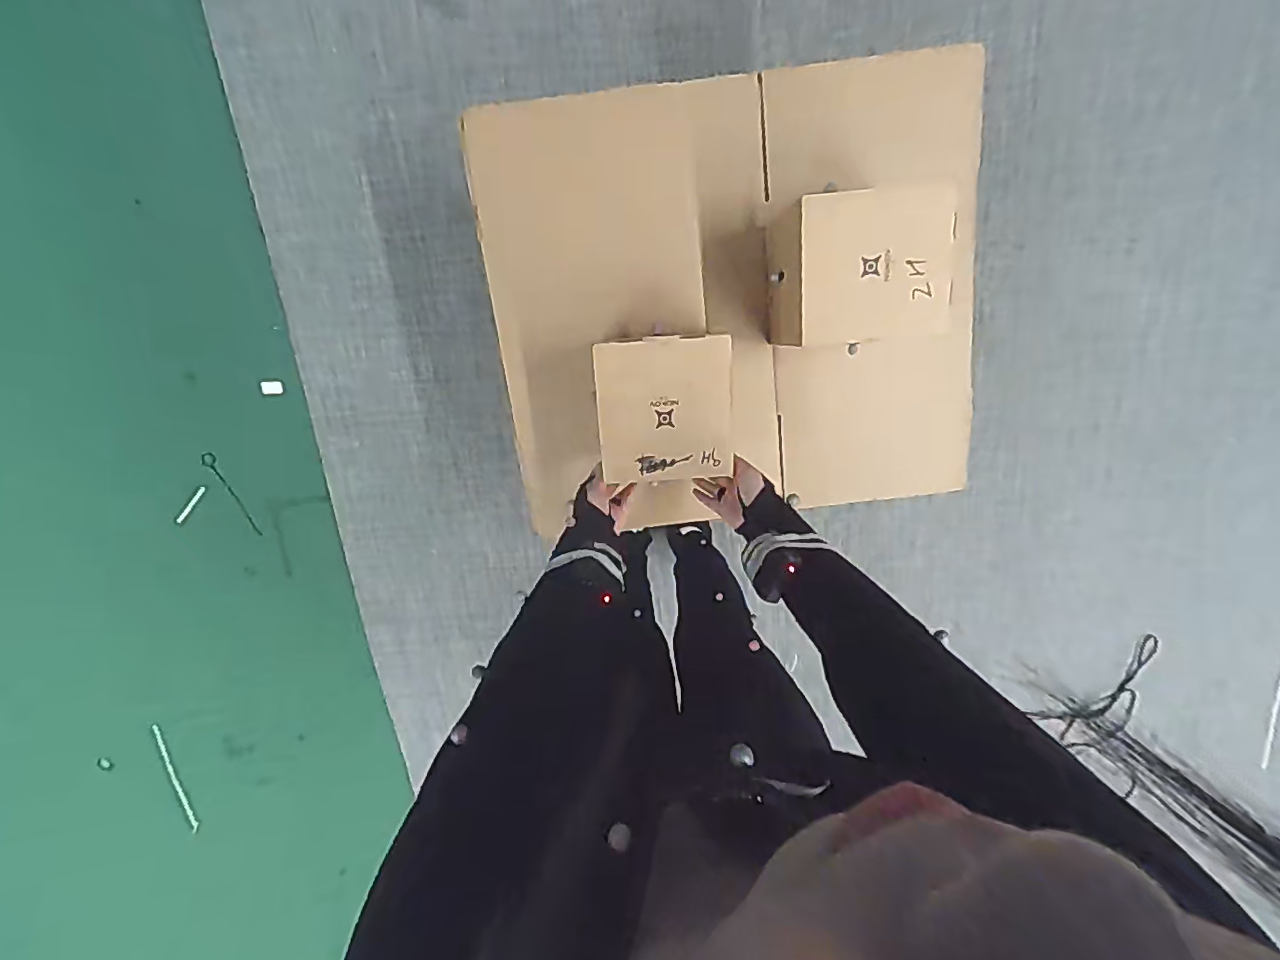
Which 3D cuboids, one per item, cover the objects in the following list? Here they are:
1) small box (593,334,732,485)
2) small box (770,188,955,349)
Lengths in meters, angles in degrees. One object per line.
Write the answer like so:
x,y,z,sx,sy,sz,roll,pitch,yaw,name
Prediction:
0.029,-0.100,0.729,0.168,0.176,0.179,-3,104,1,small box
0.267,-0.257,0.693,0.179,0.176,0.168,-4,104,2,small box
